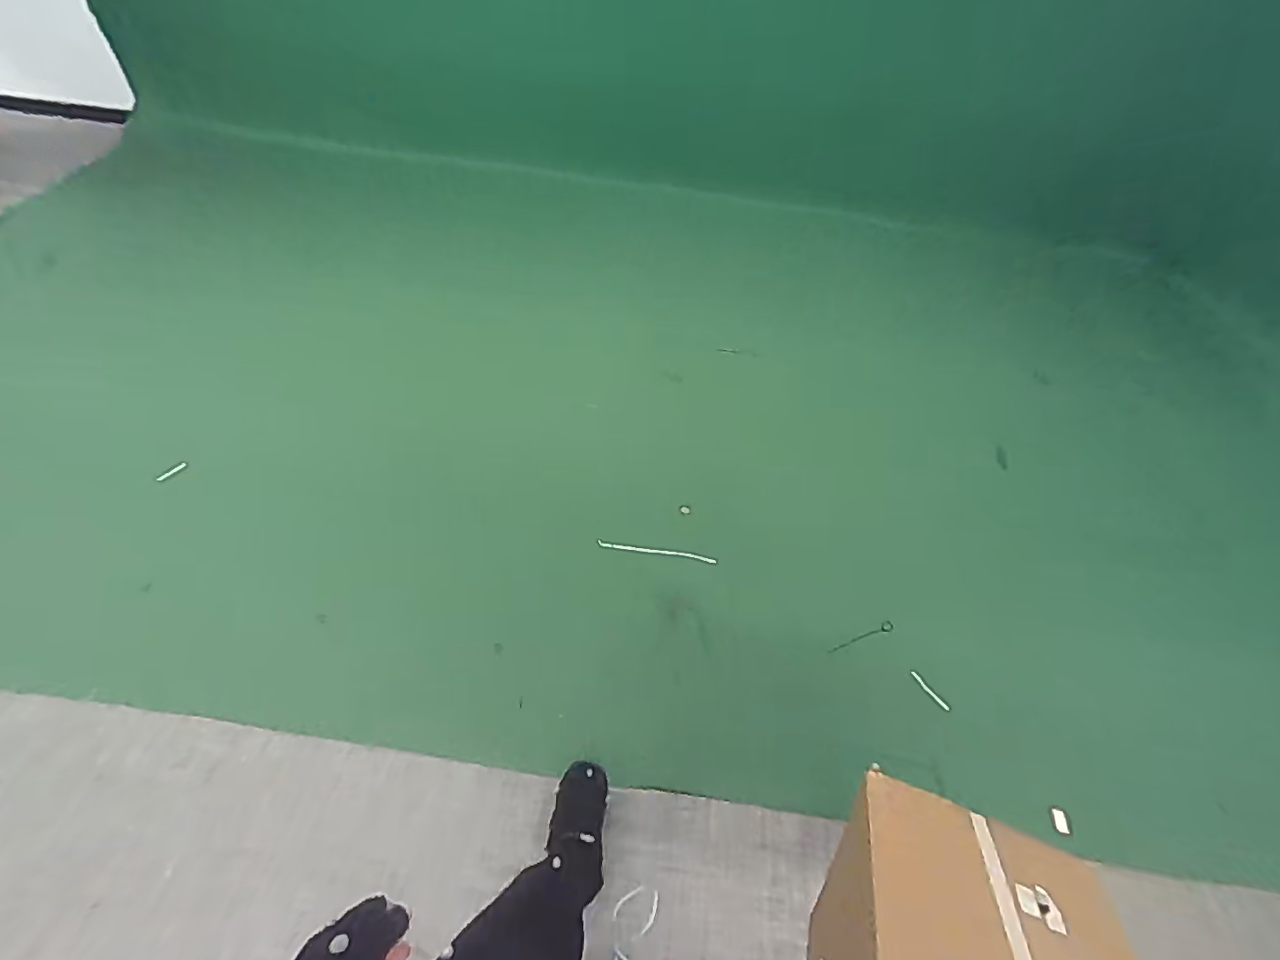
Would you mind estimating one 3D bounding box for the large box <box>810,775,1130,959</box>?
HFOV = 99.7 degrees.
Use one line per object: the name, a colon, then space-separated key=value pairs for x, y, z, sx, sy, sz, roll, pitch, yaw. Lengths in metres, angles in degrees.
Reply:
large box: x=0.399 y=0.686 z=0.673 sx=0.320 sy=0.320 sz=0.408 roll=19 pitch=15 yaw=17
